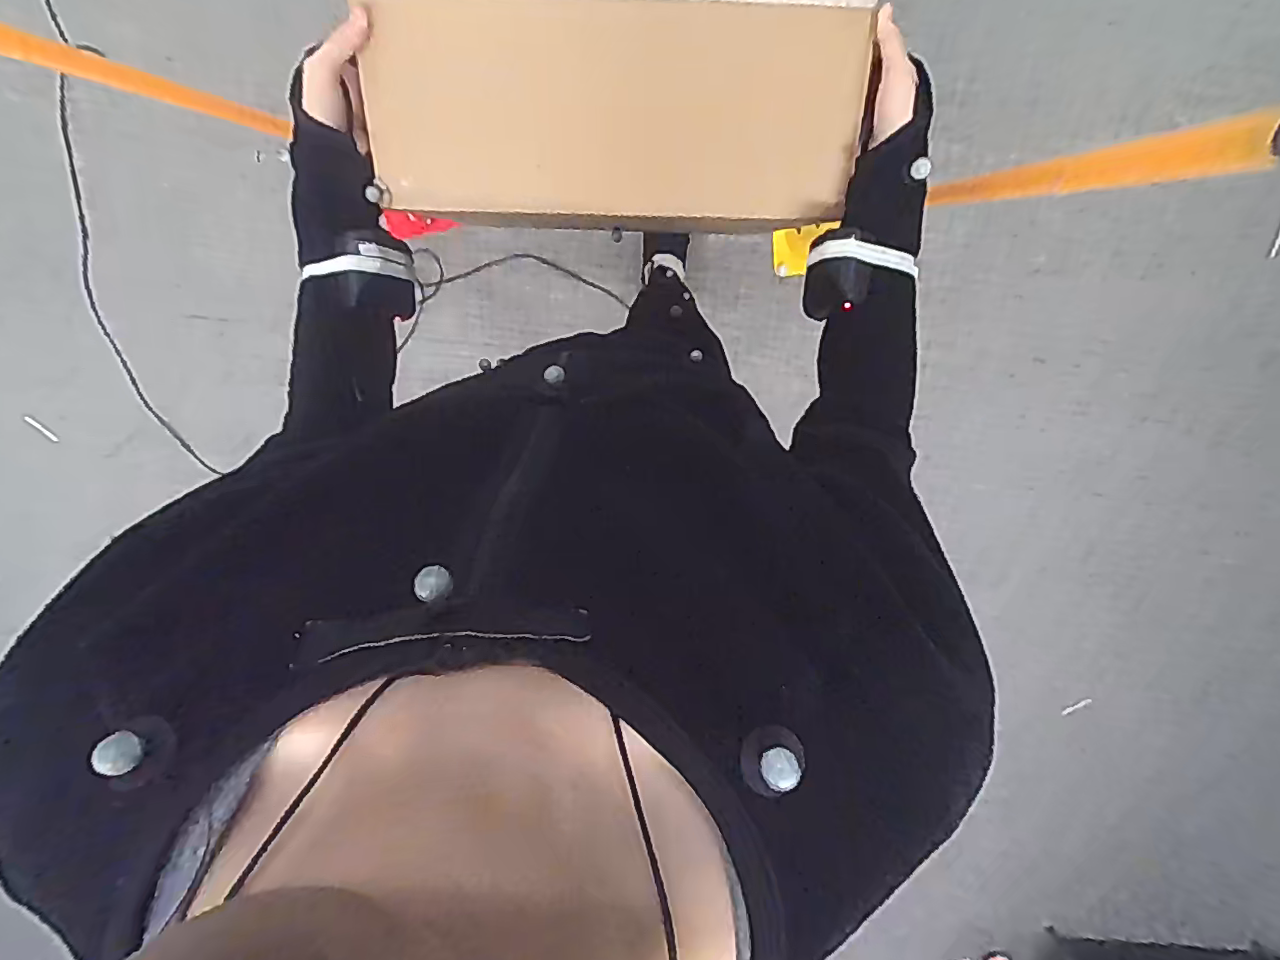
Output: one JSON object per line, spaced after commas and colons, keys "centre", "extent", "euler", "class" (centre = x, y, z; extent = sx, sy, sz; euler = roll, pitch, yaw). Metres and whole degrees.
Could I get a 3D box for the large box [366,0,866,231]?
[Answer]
{"centre": [-0.020, -0.434, 0.564], "extent": [0.408, 0.320, 0.320], "euler": [0, 111, -2], "class": "large box"}
